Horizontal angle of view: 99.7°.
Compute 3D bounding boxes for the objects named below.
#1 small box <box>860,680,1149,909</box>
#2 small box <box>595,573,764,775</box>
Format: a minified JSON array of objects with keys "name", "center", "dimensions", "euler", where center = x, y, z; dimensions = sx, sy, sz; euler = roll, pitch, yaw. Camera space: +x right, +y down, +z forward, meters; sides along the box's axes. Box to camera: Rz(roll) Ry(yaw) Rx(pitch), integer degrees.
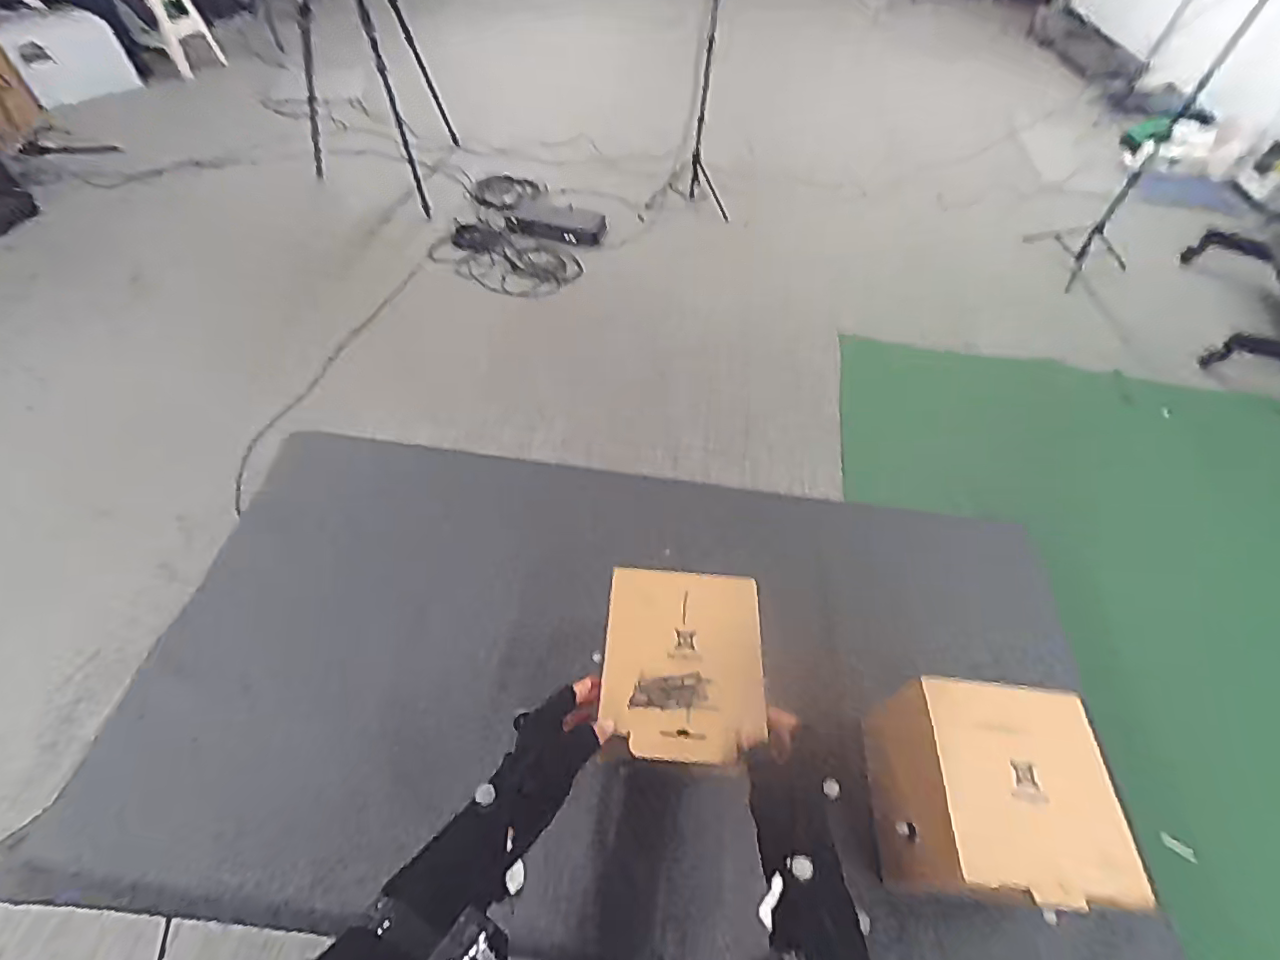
[{"name":"small box","center":[0.353,0.334,0.571],"dimensions":[0.168,0.176,0.179],"euler":[7,51,0]},{"name":"small box","center":[0.041,0.230,0.629],"dimensions":[0.168,0.176,0.179],"euler":[5,51,0]}]
